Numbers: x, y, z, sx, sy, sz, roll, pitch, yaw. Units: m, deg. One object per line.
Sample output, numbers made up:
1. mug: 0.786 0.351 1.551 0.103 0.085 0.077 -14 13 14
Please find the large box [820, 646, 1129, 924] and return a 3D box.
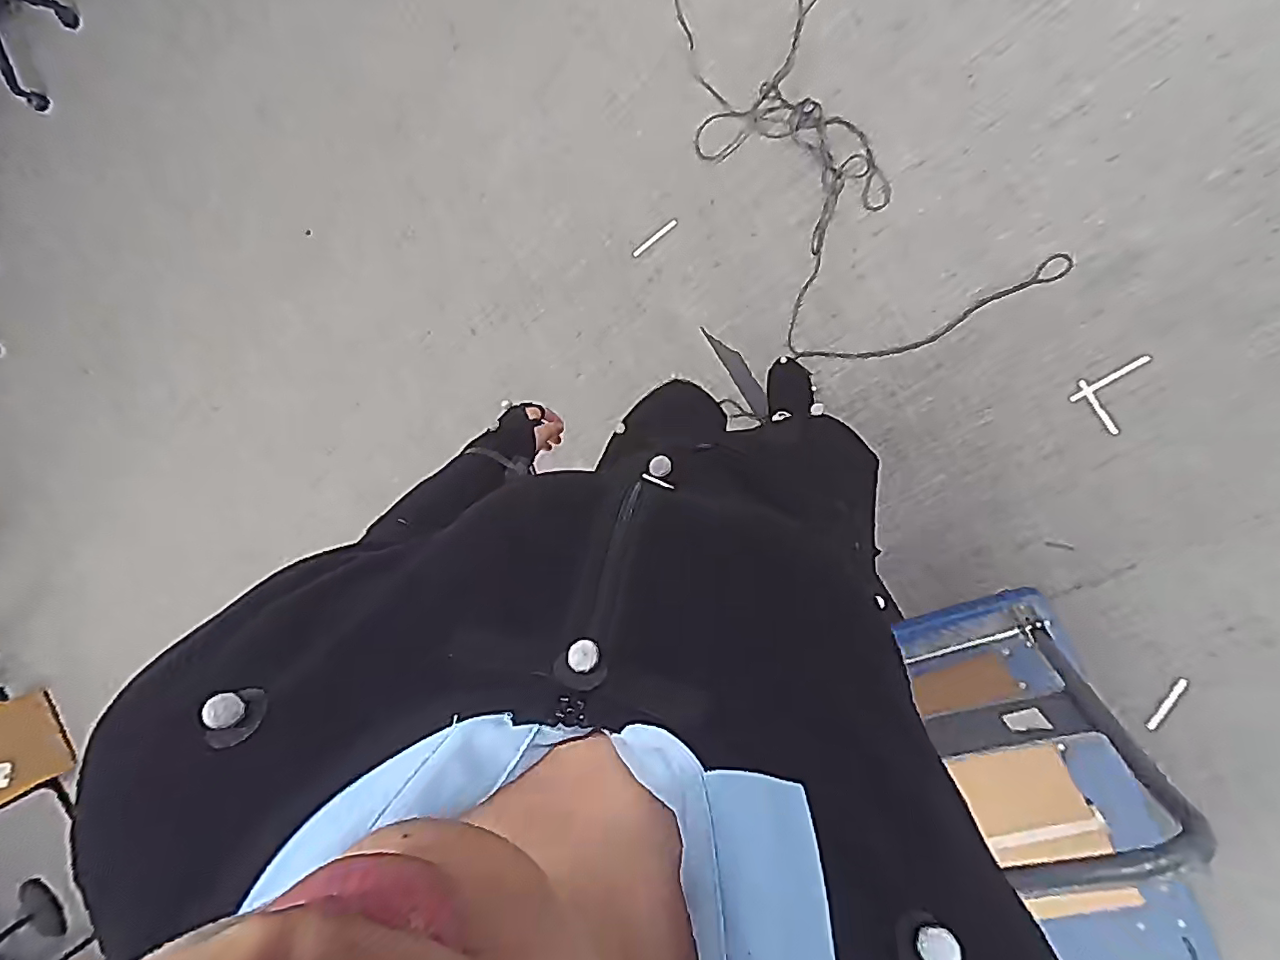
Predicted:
1. large box: 0.630 0.605 1.105 0.408 0.320 0.320 -31 88 23
